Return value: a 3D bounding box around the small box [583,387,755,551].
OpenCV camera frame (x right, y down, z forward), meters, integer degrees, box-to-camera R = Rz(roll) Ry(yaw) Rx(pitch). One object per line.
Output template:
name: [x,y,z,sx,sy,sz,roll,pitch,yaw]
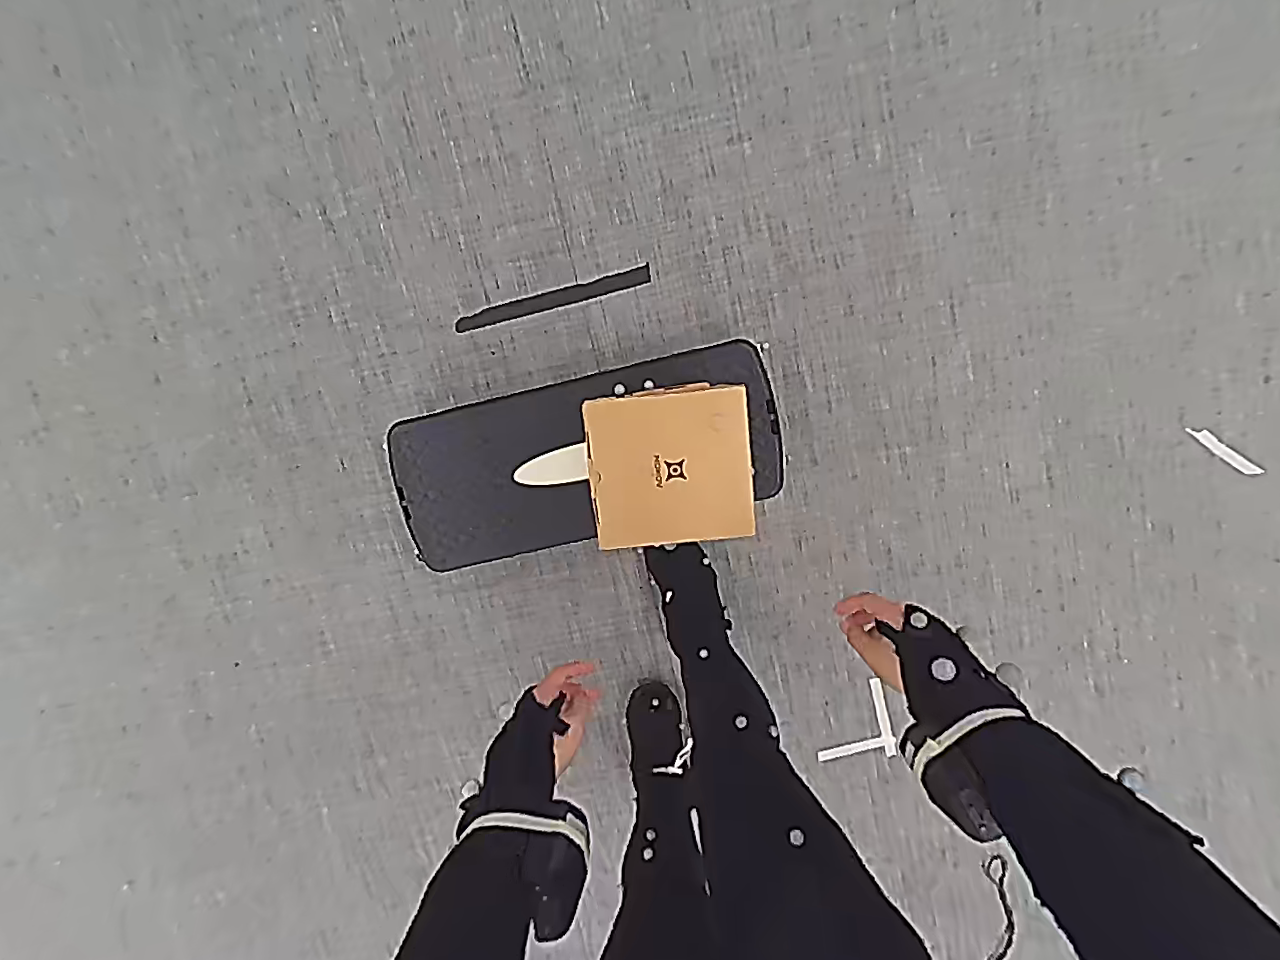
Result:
small box: [0.033,-0.023,0.659,0.179,0.176,0.168,-6,99,3]
